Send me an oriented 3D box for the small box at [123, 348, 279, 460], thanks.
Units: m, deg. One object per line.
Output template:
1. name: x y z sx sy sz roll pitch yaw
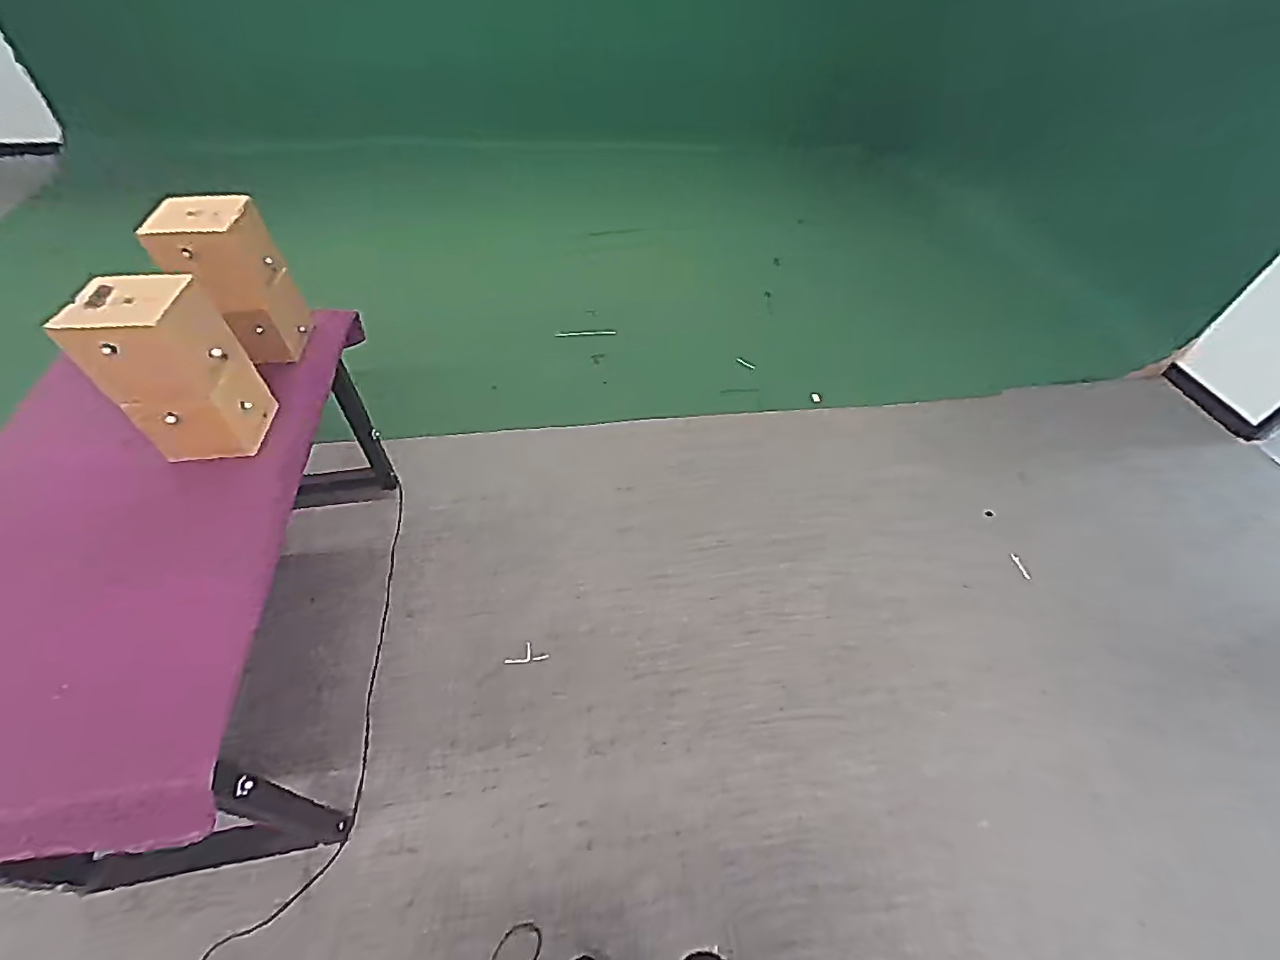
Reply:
1. small box: -0.912 -0.159 1.148 0.179 0.176 0.168 -4 51 -5

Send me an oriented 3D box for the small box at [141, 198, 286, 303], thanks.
1. small box: -0.951 -0.516 1.225 0.179 0.176 0.168 -5 52 -7

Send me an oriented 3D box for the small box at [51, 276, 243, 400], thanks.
1. small box: -0.911 -0.265 1.022 0.179 0.176 0.168 -3 51 -5
